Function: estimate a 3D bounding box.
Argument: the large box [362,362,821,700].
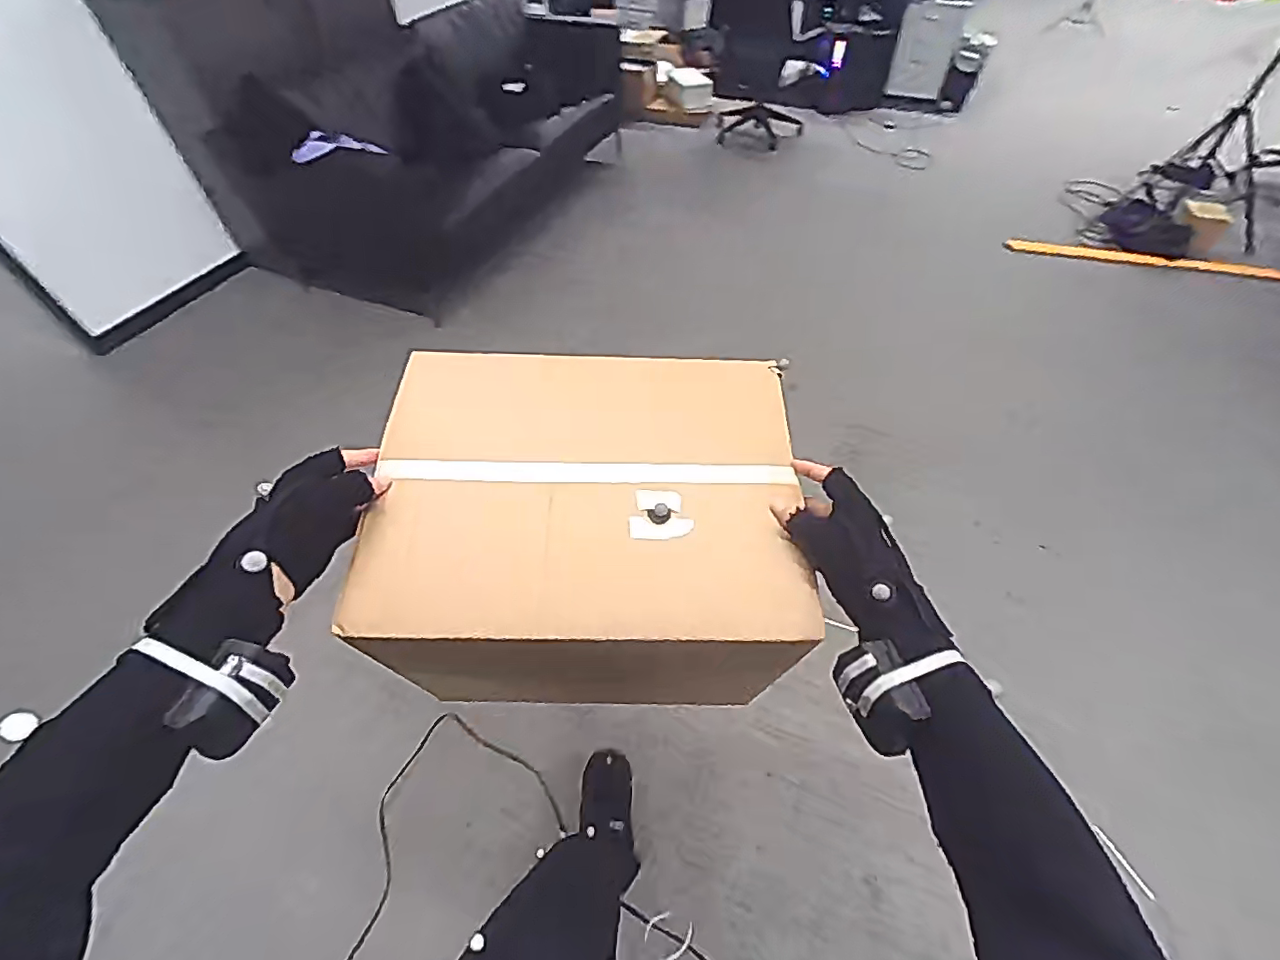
[{"bbox_3d":[-0.048,0.079,0.665,0.408,0.320,0.320,2,58,-2],"label":"large box"}]
